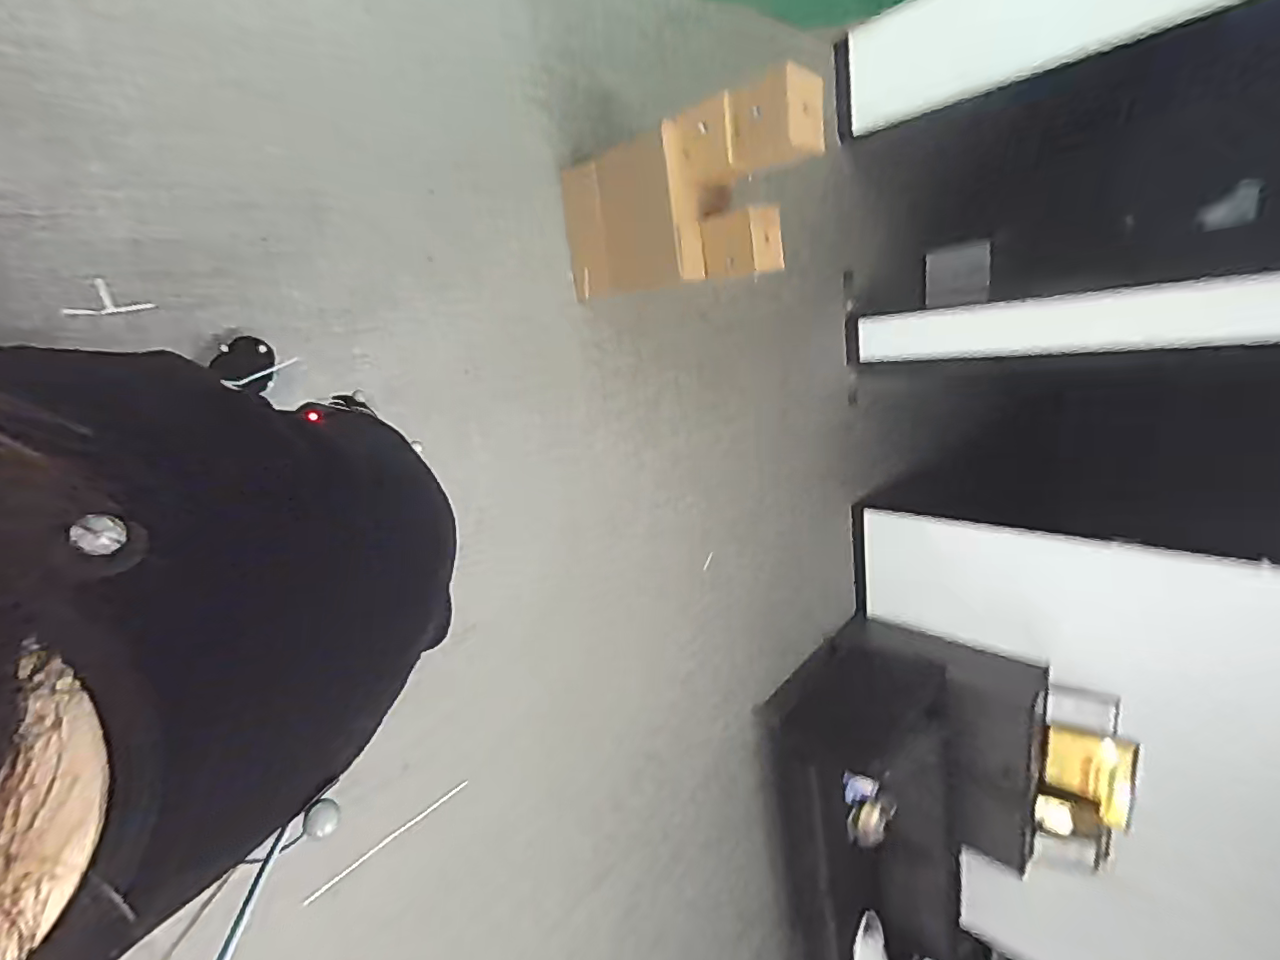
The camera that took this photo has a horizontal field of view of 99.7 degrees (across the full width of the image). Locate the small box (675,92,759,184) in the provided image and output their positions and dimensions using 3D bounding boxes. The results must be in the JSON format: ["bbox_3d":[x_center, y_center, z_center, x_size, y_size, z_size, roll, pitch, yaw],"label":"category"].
[{"bbox_3d":[0.208,-0.926,1.483,0.179,0.176,0.168,-23,113,-41],"label":"small box"}]

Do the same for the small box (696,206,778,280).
[{"bbox_3d":[0.286,-0.695,1.599,0.168,0.176,0.179,-26,112,-42],"label":"small box"}]

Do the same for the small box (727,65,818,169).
[{"bbox_3d":[0.334,-0.911,1.377,0.179,0.176,0.168,-21,112,-42],"label":"small box"}]
